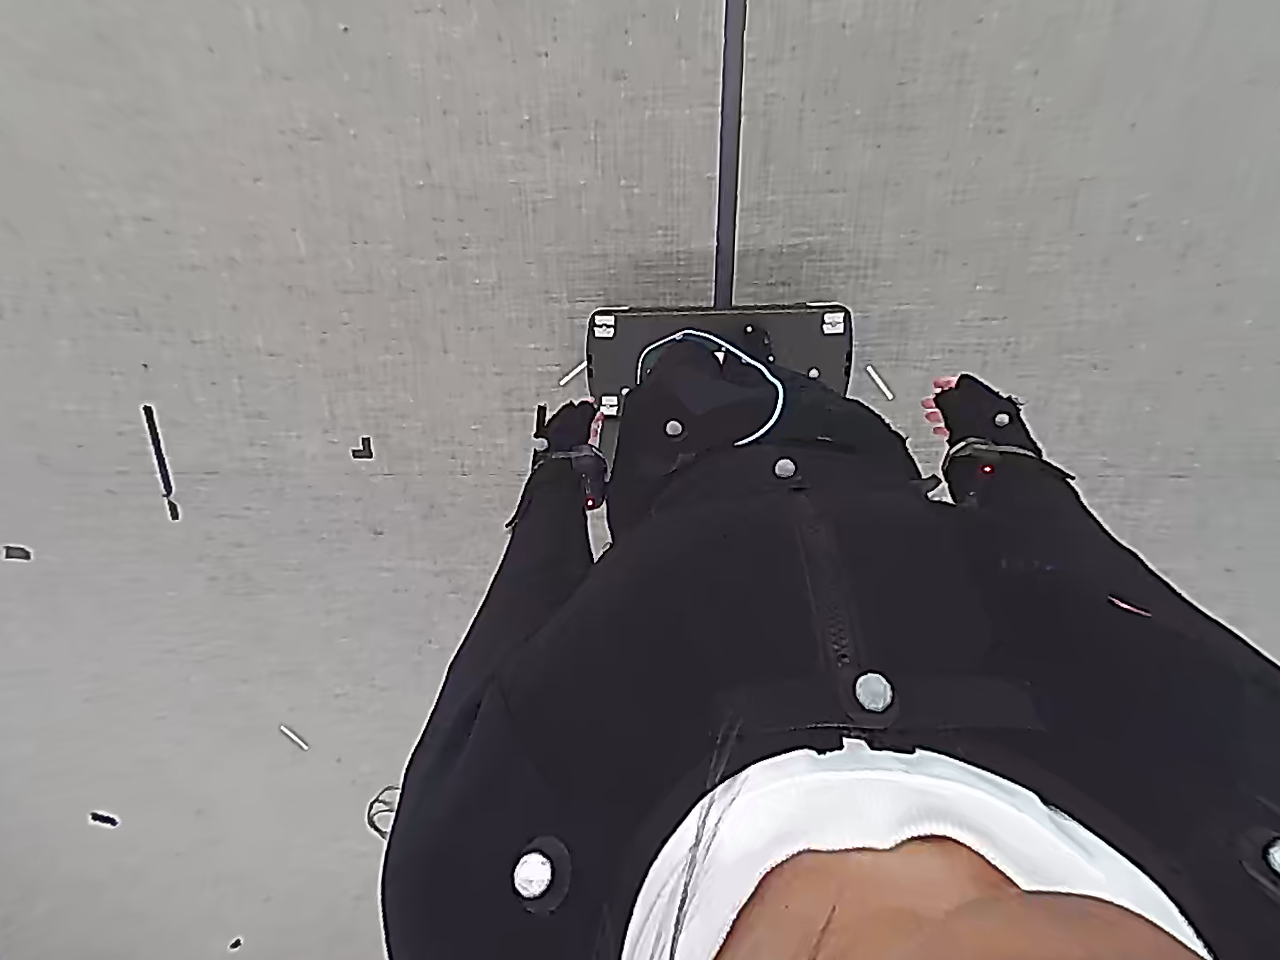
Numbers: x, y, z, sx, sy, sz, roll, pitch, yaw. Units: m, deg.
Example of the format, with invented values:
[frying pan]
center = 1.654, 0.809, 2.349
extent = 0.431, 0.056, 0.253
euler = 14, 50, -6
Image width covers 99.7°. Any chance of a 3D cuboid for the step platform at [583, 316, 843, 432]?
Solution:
[step platform]
center = 0.188, -0.287, 1.468
extent = 0.684, 0.204, 0.286
euler = -1, 108, 5
